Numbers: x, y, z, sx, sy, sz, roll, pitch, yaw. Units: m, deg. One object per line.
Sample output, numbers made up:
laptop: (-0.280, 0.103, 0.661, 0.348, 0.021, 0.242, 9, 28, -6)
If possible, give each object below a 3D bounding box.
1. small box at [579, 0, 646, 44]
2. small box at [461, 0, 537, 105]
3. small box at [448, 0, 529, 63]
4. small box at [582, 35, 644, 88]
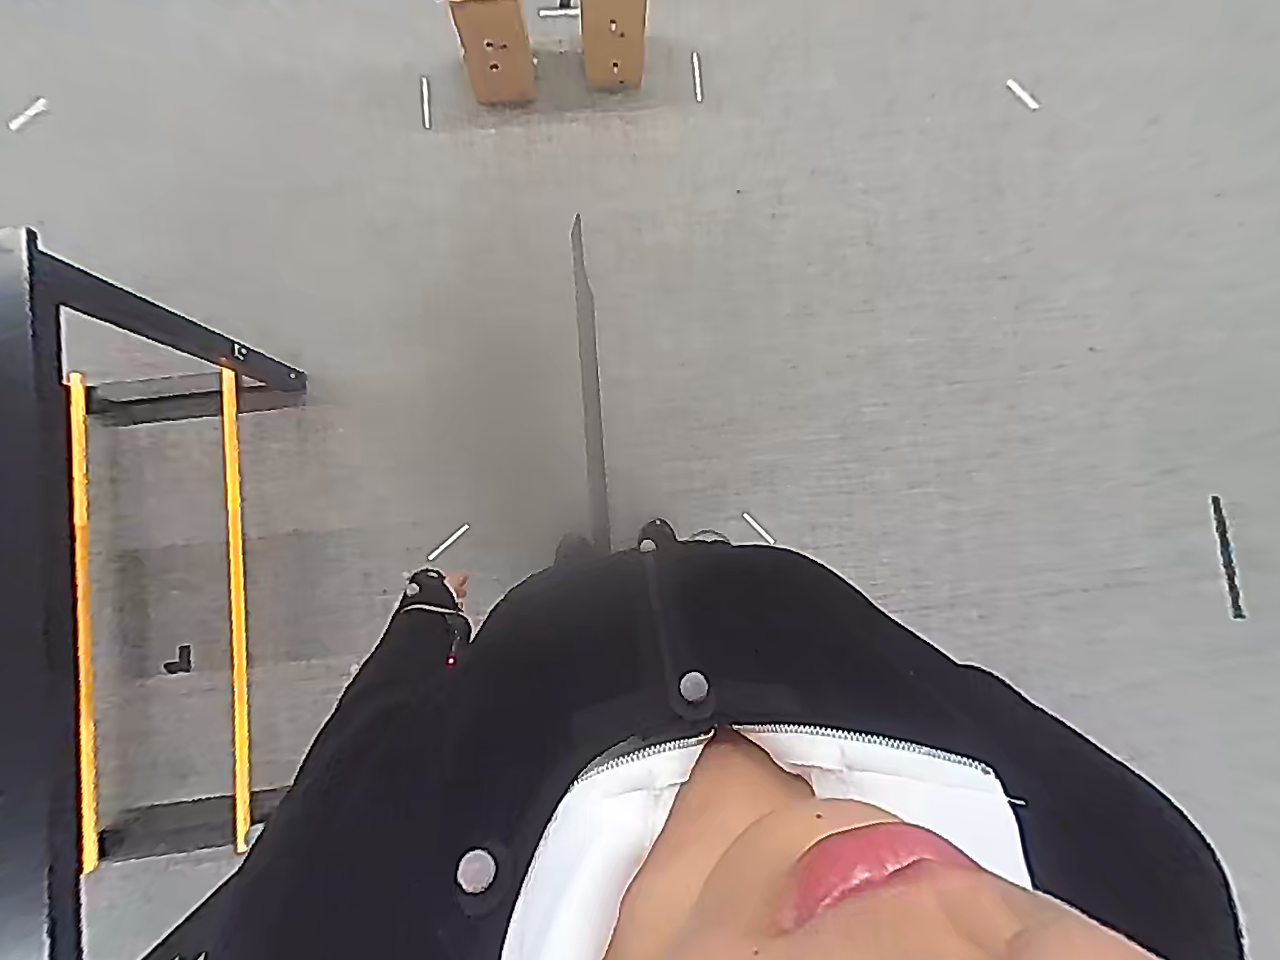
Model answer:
small box: (-0.073, -1.255, 1.365, 0.168, 0.176, 0.179, -4, 86, -3)
small box: (-0.392, -1.185, 1.508, 0.179, 0.176, 0.168, -7, 86, -4)
small box: (-0.380, -1.194, 1.346, 0.168, 0.176, 0.179, -9, 88, -2)
small box: (-0.079, -1.250, 1.531, 0.168, 0.176, 0.179, -5, 87, -3)
